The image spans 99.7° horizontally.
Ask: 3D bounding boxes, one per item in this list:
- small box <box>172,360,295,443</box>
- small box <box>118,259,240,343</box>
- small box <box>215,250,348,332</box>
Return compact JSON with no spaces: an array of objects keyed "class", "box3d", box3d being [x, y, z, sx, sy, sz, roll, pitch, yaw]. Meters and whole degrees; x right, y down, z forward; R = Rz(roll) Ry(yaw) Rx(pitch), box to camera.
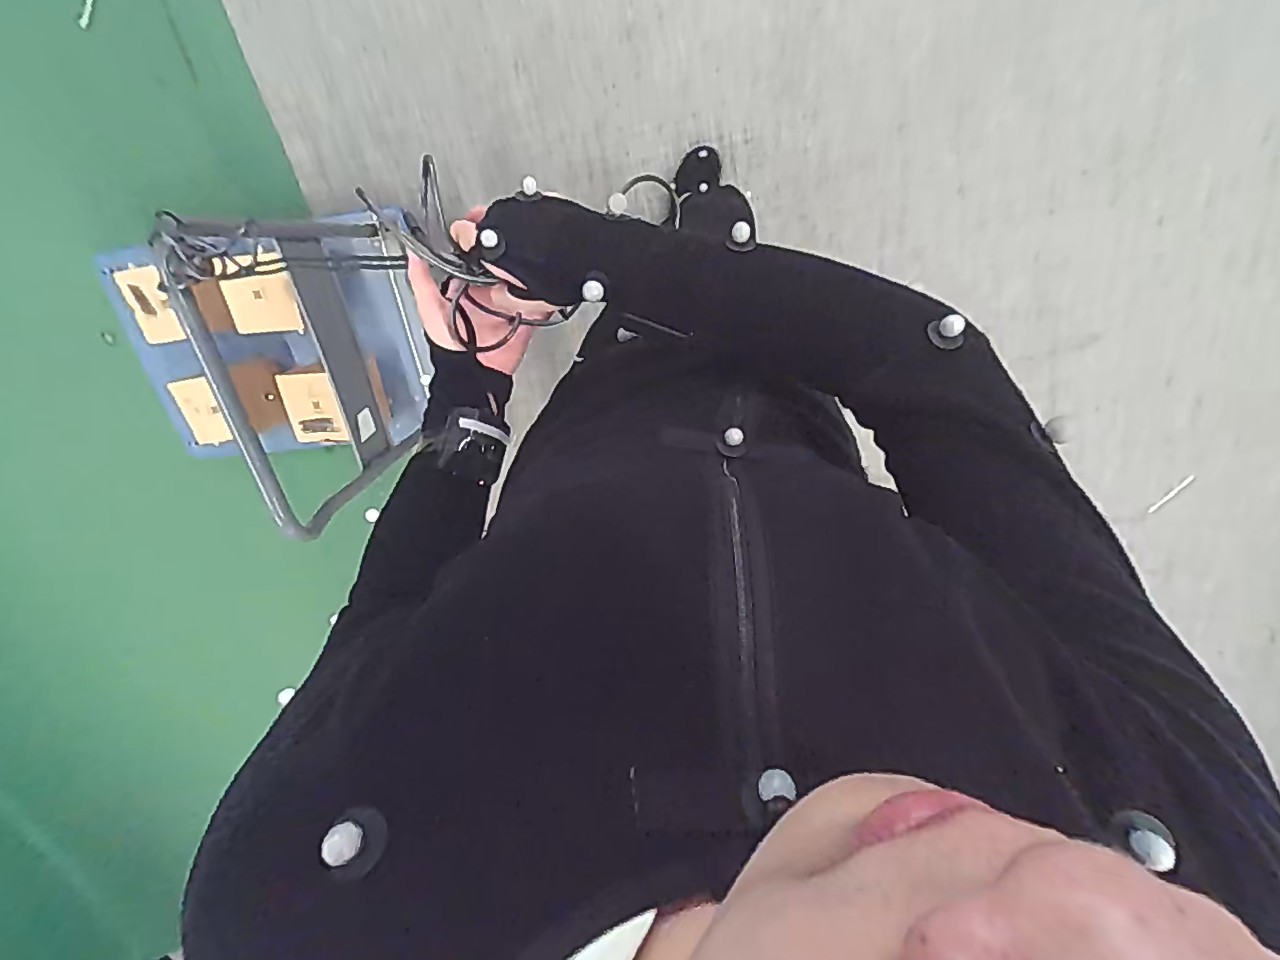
[{"class":"small box","box3d":[-1.056,-0.211,1.429,0.179,0.176,0.168,-7,113,10]},{"class":"small box","box3d":[-1.089,-0.442,1.324,0.179,0.176,0.168,-6,115,8]},{"class":"small box","box3d":[-0.845,-0.453,1.292,0.179,0.176,0.168,-3,115,7]}]
